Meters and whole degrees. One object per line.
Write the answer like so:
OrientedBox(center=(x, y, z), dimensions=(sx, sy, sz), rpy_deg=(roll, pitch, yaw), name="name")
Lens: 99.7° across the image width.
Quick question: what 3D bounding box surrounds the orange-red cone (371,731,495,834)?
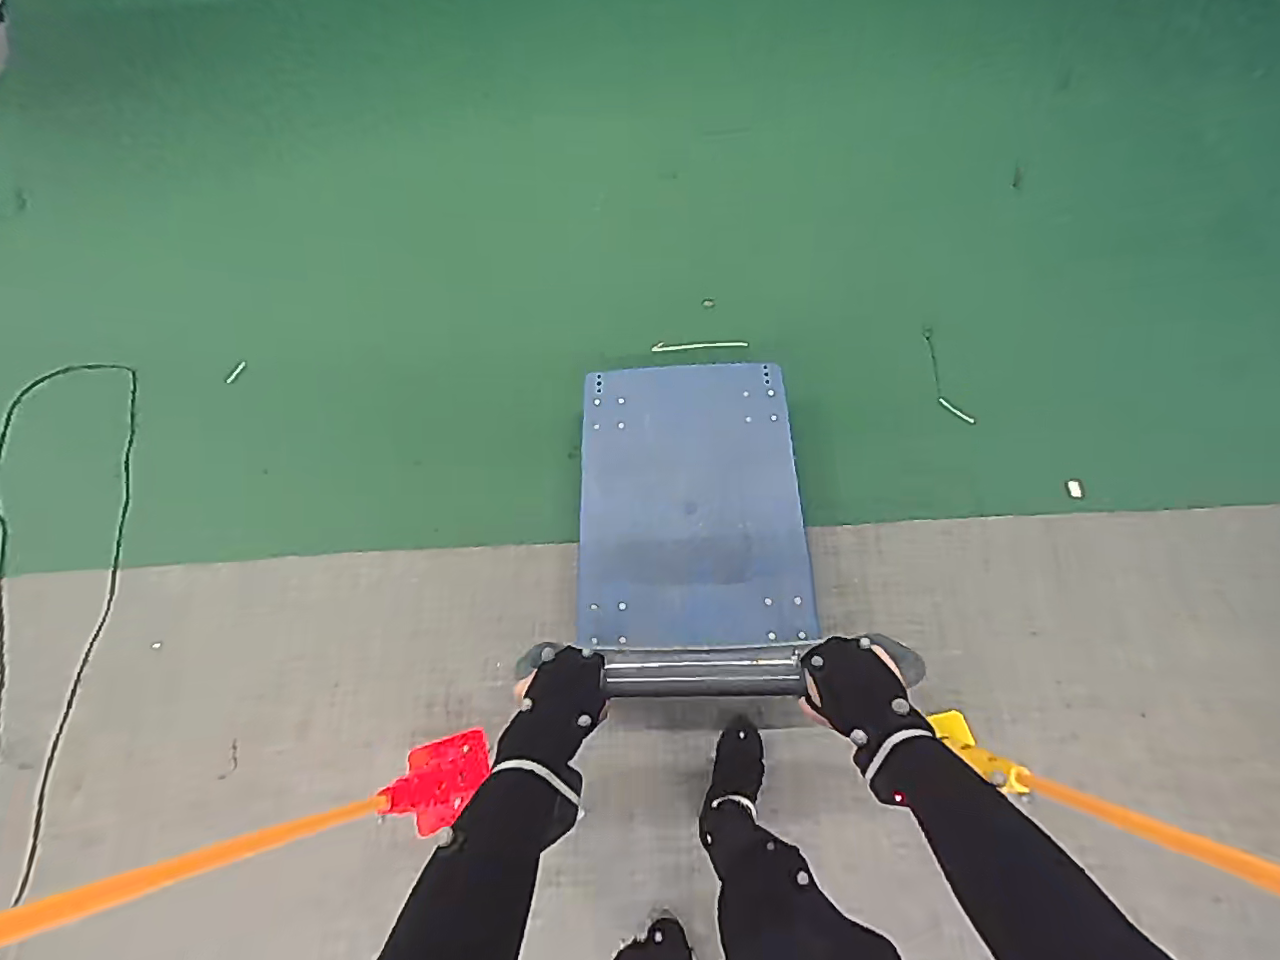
OrientedBox(center=(-0.480, 0.684, 1.186), dimensions=(0.199, 0.360, 0.198), rpy_deg=(-18, 67, -1), name="orange-red cone")
